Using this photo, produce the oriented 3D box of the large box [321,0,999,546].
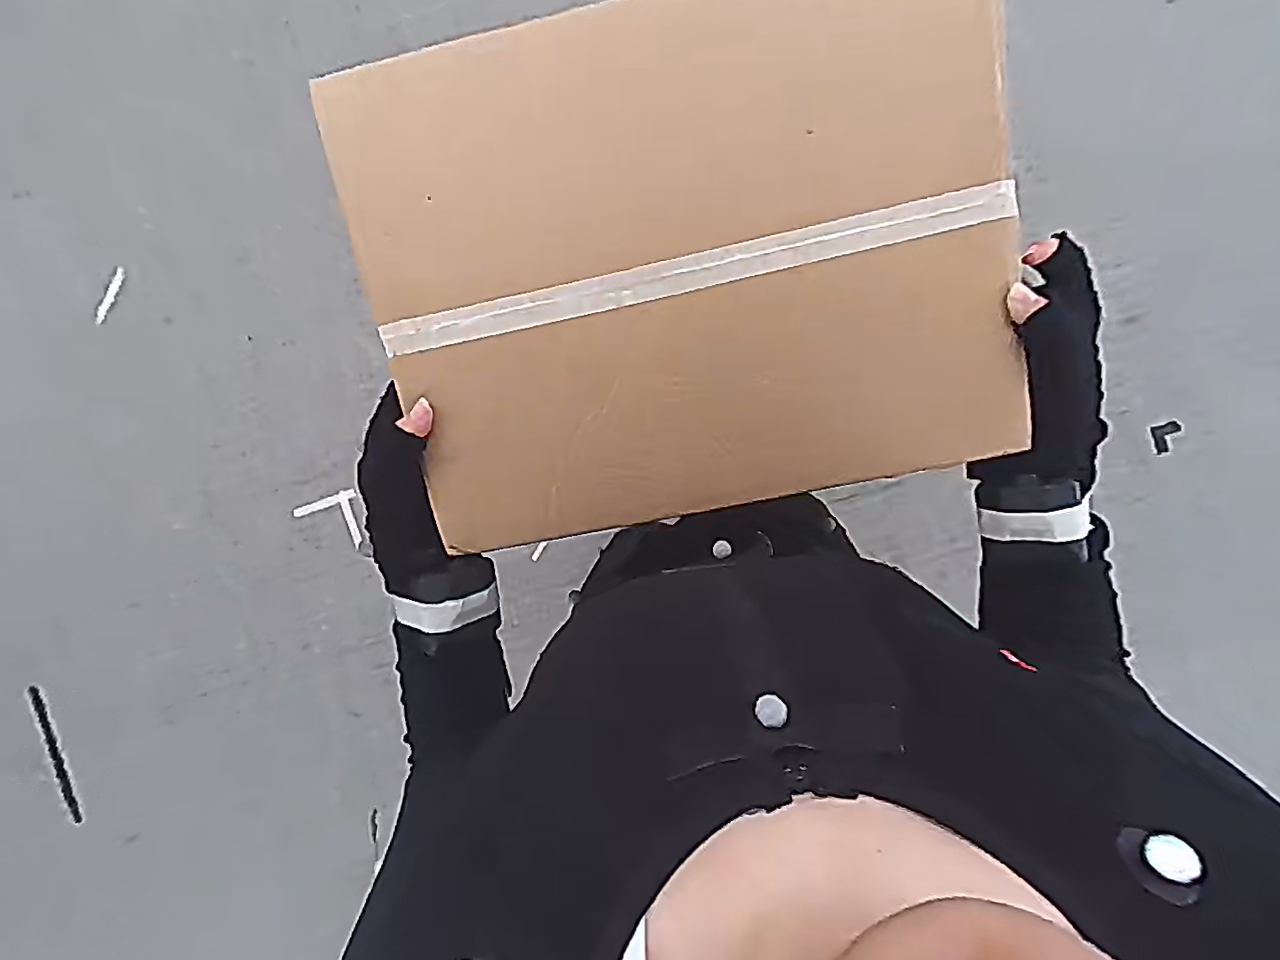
[{"bbox_3d":[0.029,-0.169,0.499,0.408,0.320,0.320,-11,101,5],"label":"large box"}]
